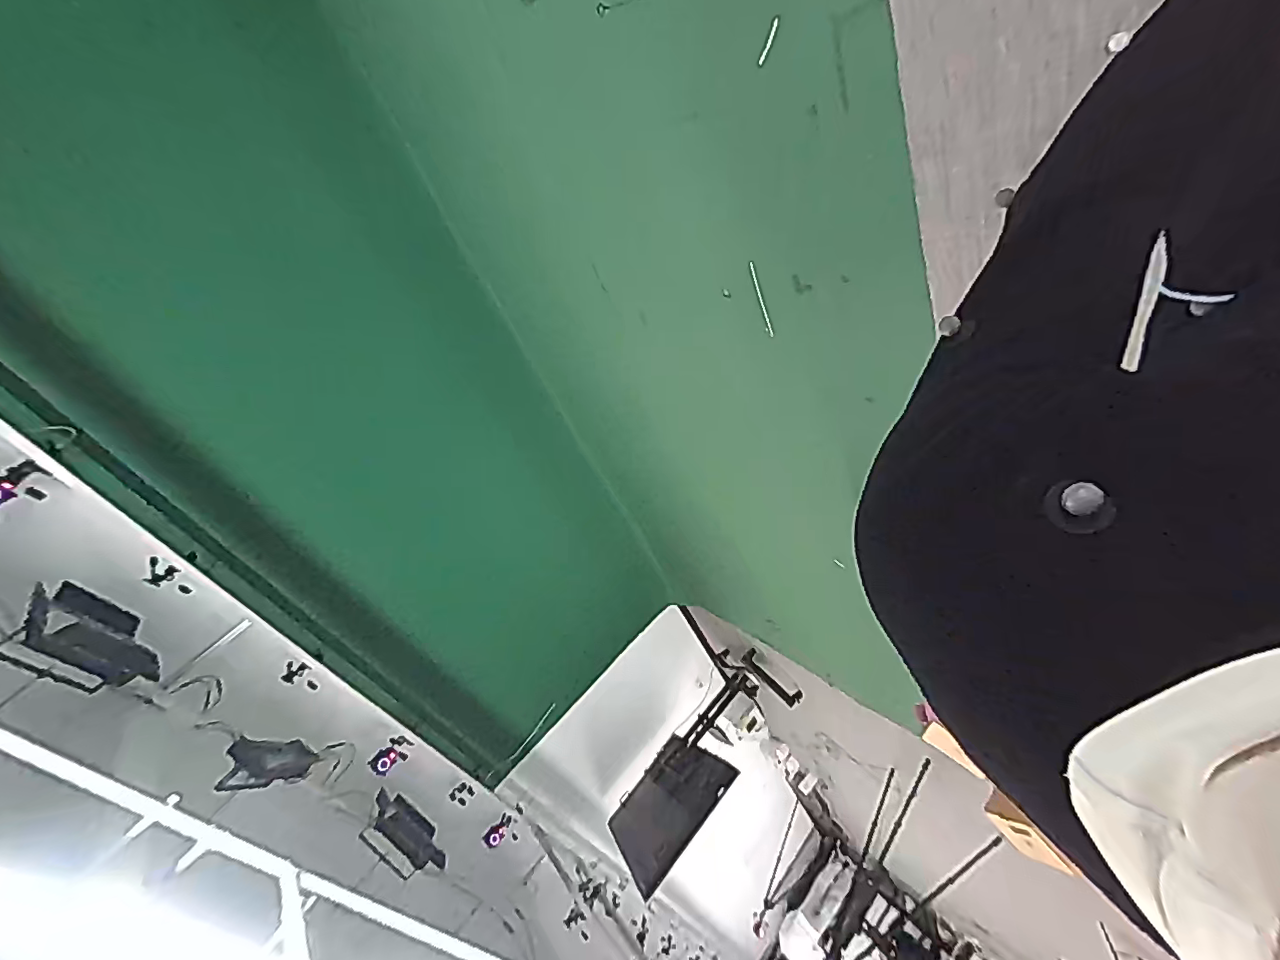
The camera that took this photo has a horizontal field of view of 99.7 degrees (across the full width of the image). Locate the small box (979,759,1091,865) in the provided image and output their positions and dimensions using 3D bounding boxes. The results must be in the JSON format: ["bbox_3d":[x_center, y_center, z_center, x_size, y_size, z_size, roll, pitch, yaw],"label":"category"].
[{"bbox_3d":[1.143,0.948,1.564,0.179,0.176,0.168,46,159,1],"label":"small box"}]

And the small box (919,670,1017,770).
[{"bbox_3d":[0.904,0.656,1.490,0.168,0.176,0.179,30,156,33],"label":"small box"}]
